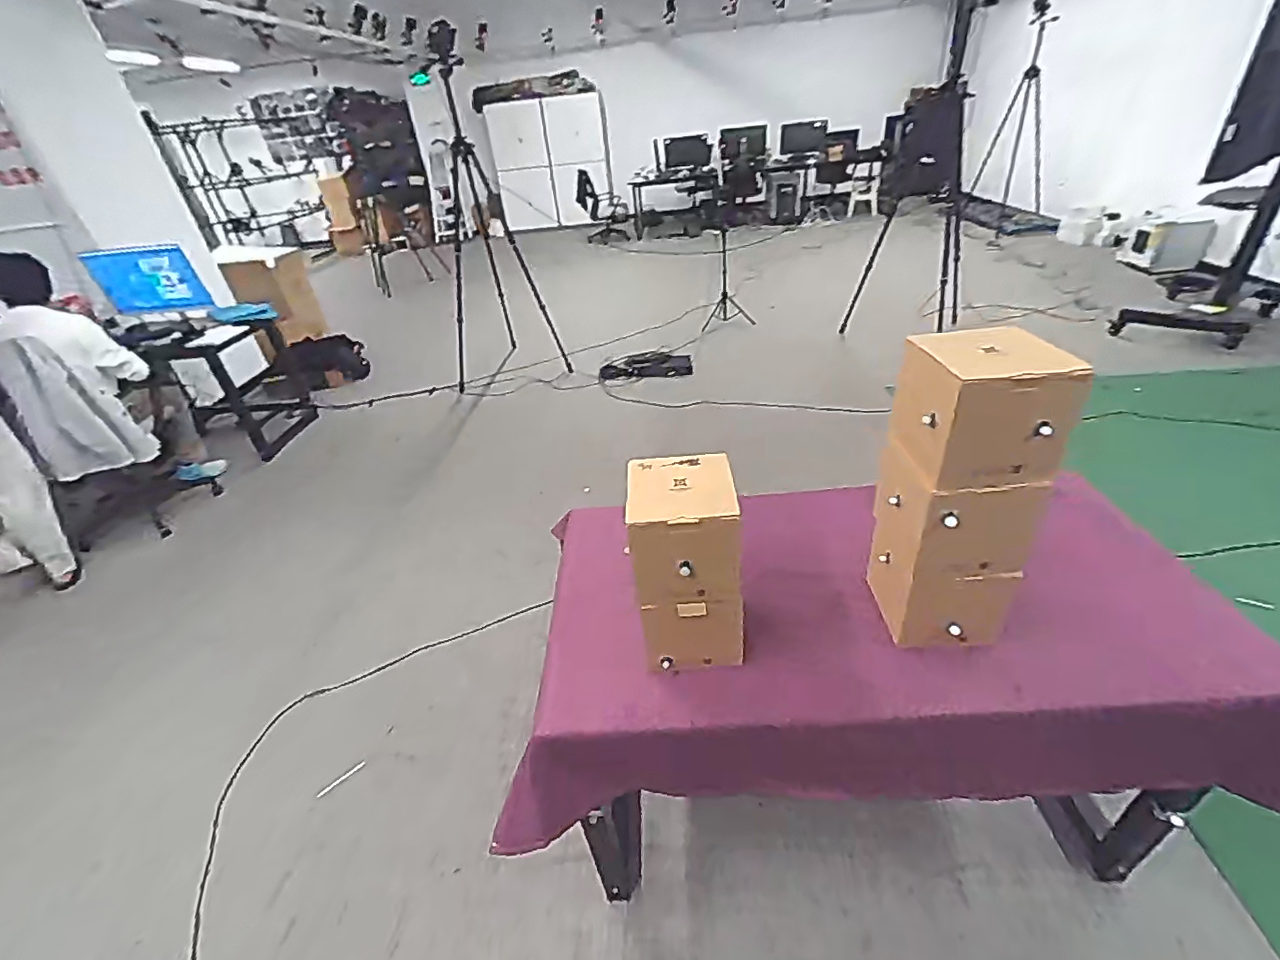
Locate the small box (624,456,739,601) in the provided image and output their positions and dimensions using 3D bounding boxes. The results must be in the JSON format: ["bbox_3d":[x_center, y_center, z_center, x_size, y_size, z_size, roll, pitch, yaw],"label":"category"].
[{"bbox_3d":[0.069,0.082,0.873,0.168,0.176,0.179,-4,35,4],"label":"small box"}]

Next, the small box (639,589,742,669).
[{"bbox_3d":[0.089,0.218,0.963,0.168,0.176,0.179,-5,33,3],"label":"small box"}]

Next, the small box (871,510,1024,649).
[{"bbox_3d":[0.520,0.173,0.948,0.168,0.176,0.179,-4,34,6],"label":"small box"}]

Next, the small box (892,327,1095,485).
[{"bbox_3d":[0.483,-0.103,0.774,0.168,0.176,0.179,-5,33,3],"label":"small box"}]
